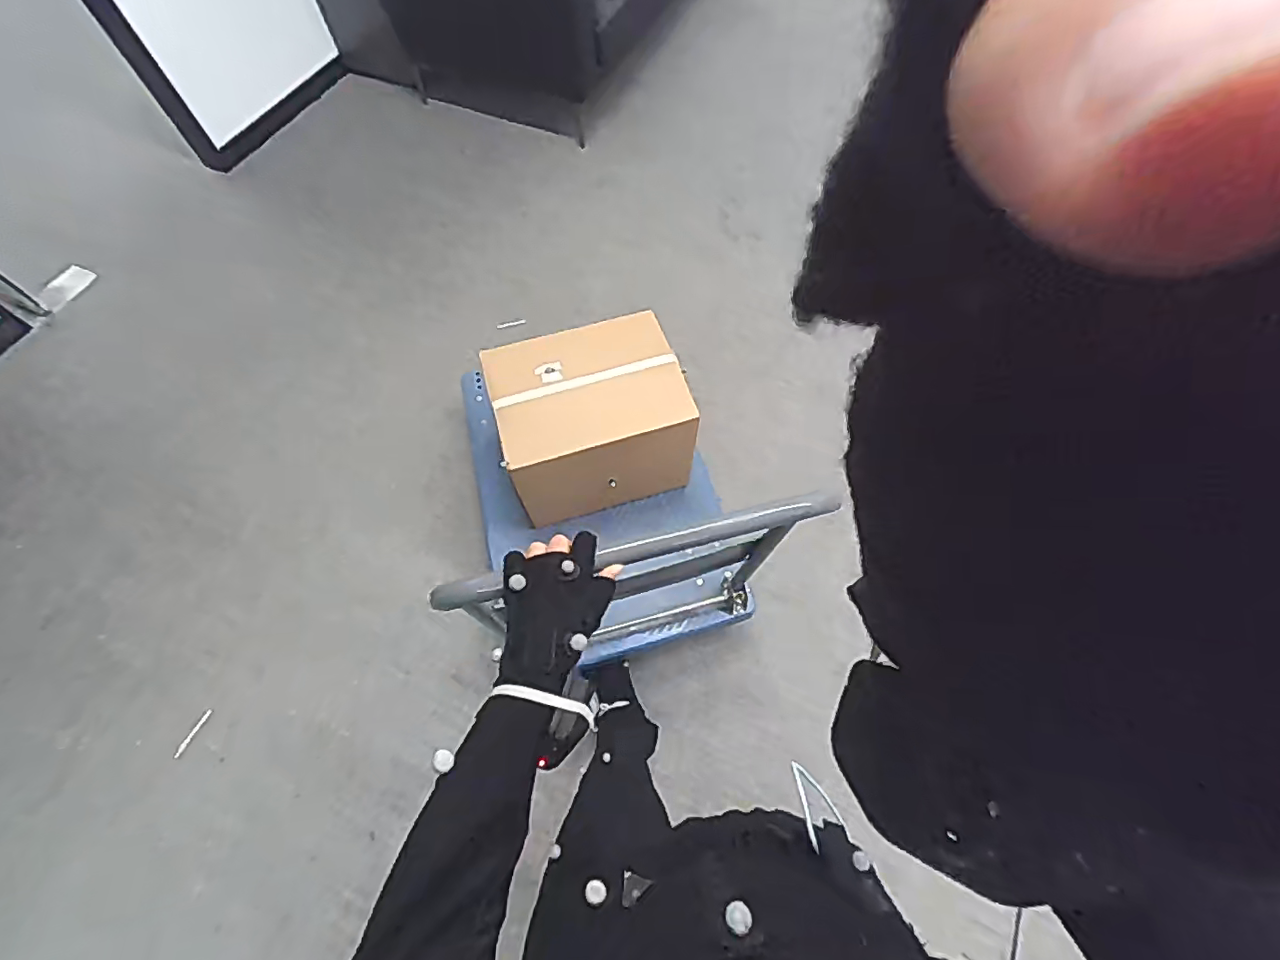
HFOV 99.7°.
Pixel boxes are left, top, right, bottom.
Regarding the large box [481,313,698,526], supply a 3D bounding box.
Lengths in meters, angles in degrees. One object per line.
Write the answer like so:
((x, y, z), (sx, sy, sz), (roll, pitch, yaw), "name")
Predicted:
((-0.113, -0.133, 1.284), (0.408, 0.320, 0.320), (-17, 64, -8), "large box")
